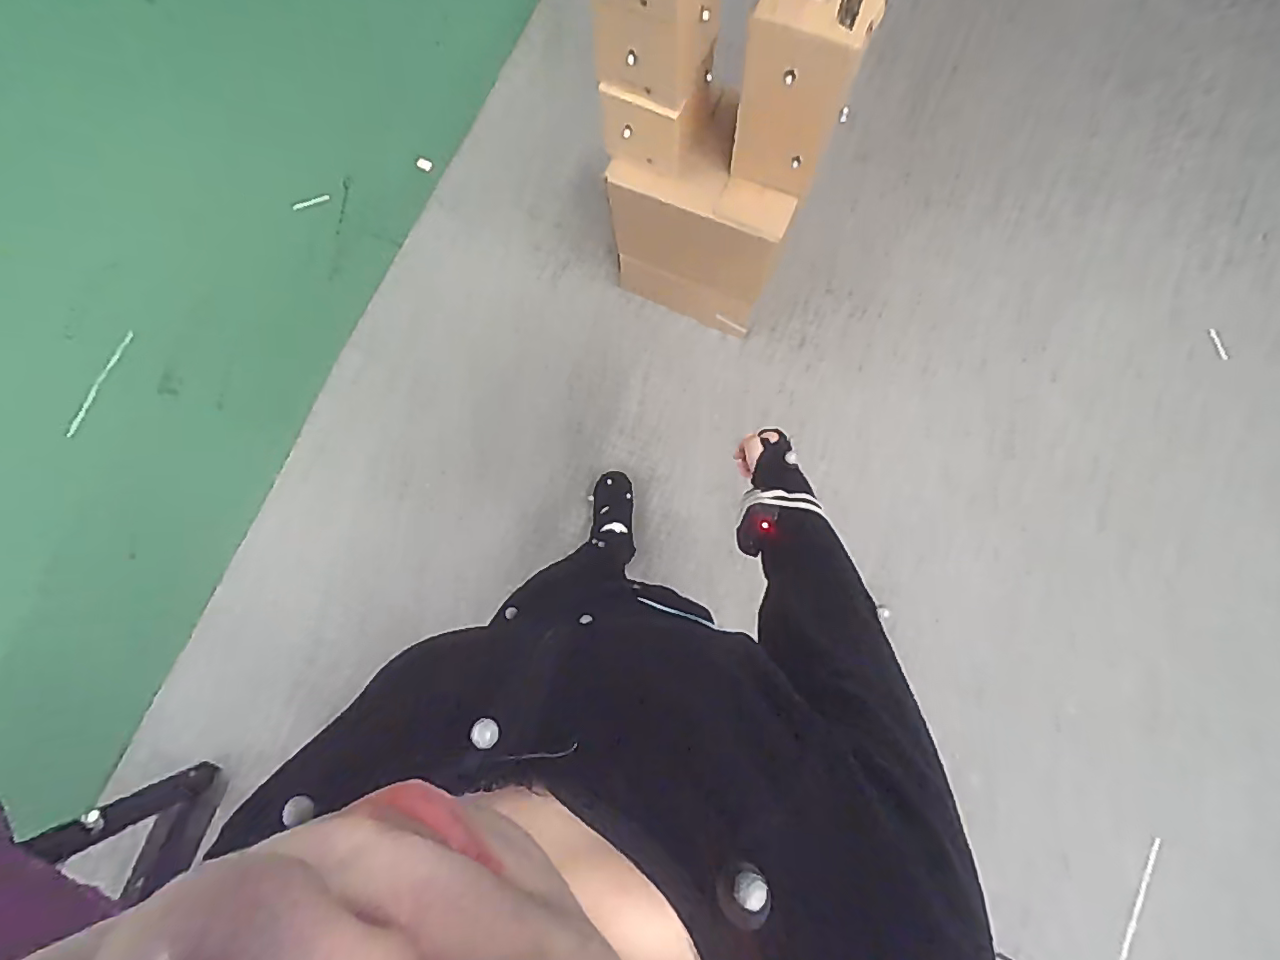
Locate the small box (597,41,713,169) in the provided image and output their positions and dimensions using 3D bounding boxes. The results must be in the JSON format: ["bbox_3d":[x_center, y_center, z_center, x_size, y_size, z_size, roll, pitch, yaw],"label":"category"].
[{"bbox_3d":[0.032,-0.773,1.088,0.168,0.176,0.179,25,83,4],"label":"small box"}]

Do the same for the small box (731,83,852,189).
[{"bbox_3d":[0.296,-0.717,1.072,0.179,0.176,0.168,23,83,7],"label":"small box"}]

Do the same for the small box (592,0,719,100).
[{"bbox_3d":[0.034,-0.809,0.927,0.168,0.176,0.179,27,83,4],"label":"small box"}]

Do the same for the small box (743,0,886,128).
[{"bbox_3d":[0.291,-0.740,0.909,0.179,0.176,0.168,24,83,7],"label":"small box"}]
